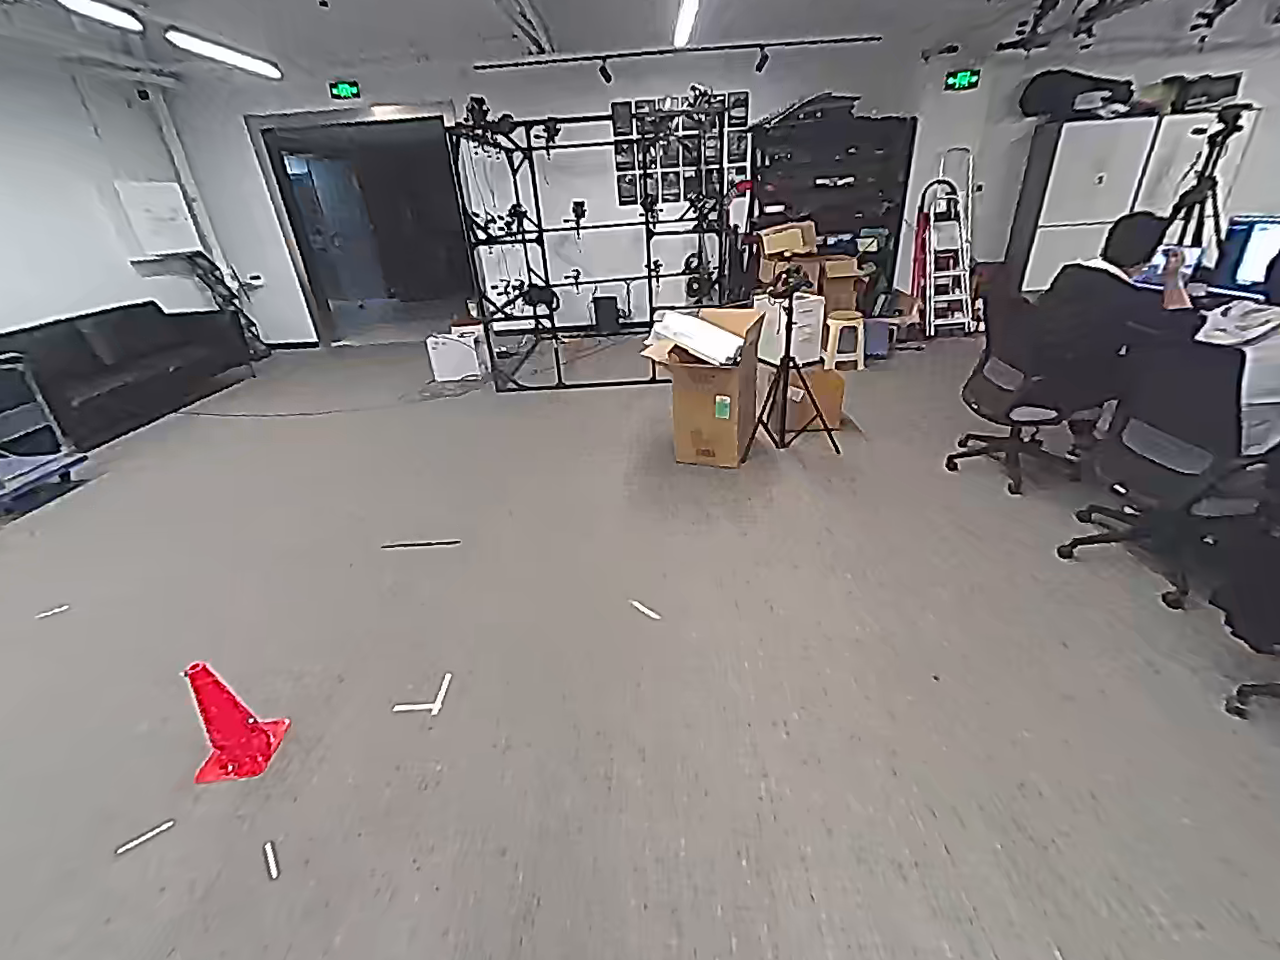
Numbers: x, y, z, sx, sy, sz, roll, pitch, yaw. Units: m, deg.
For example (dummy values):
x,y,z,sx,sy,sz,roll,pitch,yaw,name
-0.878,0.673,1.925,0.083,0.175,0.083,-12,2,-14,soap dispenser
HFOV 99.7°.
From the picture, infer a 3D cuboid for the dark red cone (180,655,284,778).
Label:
x,y,z,sx,sy,sz,roll,pitch,yaw,name
-1.233,0.665,1.575,0.202,0.394,0.201,-6,28,-4,dark red cone
